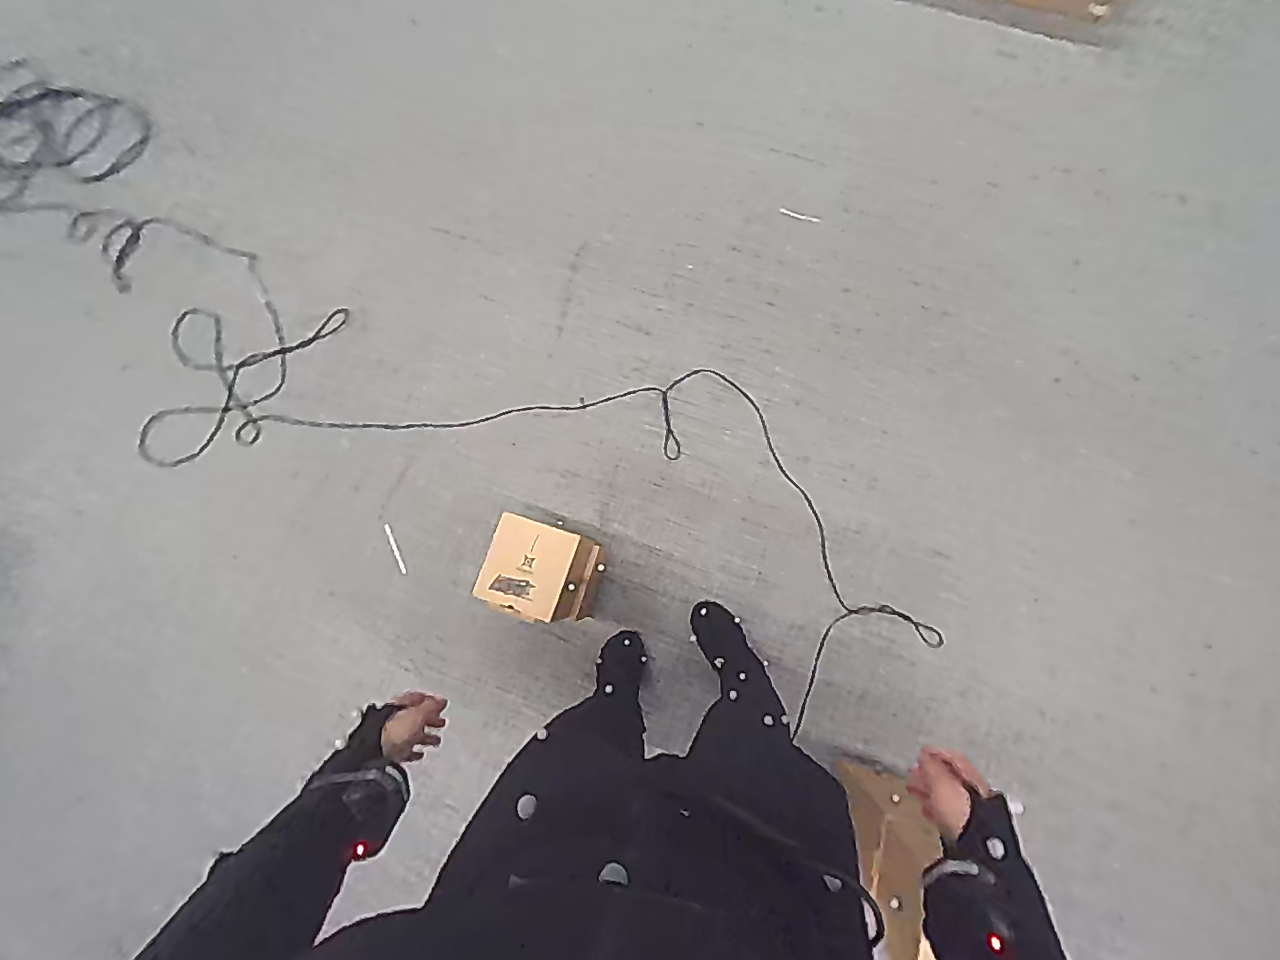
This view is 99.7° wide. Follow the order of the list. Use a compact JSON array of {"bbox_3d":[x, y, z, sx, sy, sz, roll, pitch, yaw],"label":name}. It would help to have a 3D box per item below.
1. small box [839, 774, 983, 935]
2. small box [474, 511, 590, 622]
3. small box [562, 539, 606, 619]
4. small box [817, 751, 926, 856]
[{"bbox_3d":[0.487,0.673,0.999,0.179,0.176,0.168,14,84,5],"label":"small box"},{"bbox_3d":[-0.214,0.179,1.126,0.168,0.176,0.179,17,82,7],"label":"small box"},{"bbox_3d":[-0.186,0.216,1.285,0.168,0.176,0.179,16,82,8],"label":"small box"},{"bbox_3d":[0.498,0.708,1.158,0.179,0.176,0.168,17,84,7],"label":"small box"}]
